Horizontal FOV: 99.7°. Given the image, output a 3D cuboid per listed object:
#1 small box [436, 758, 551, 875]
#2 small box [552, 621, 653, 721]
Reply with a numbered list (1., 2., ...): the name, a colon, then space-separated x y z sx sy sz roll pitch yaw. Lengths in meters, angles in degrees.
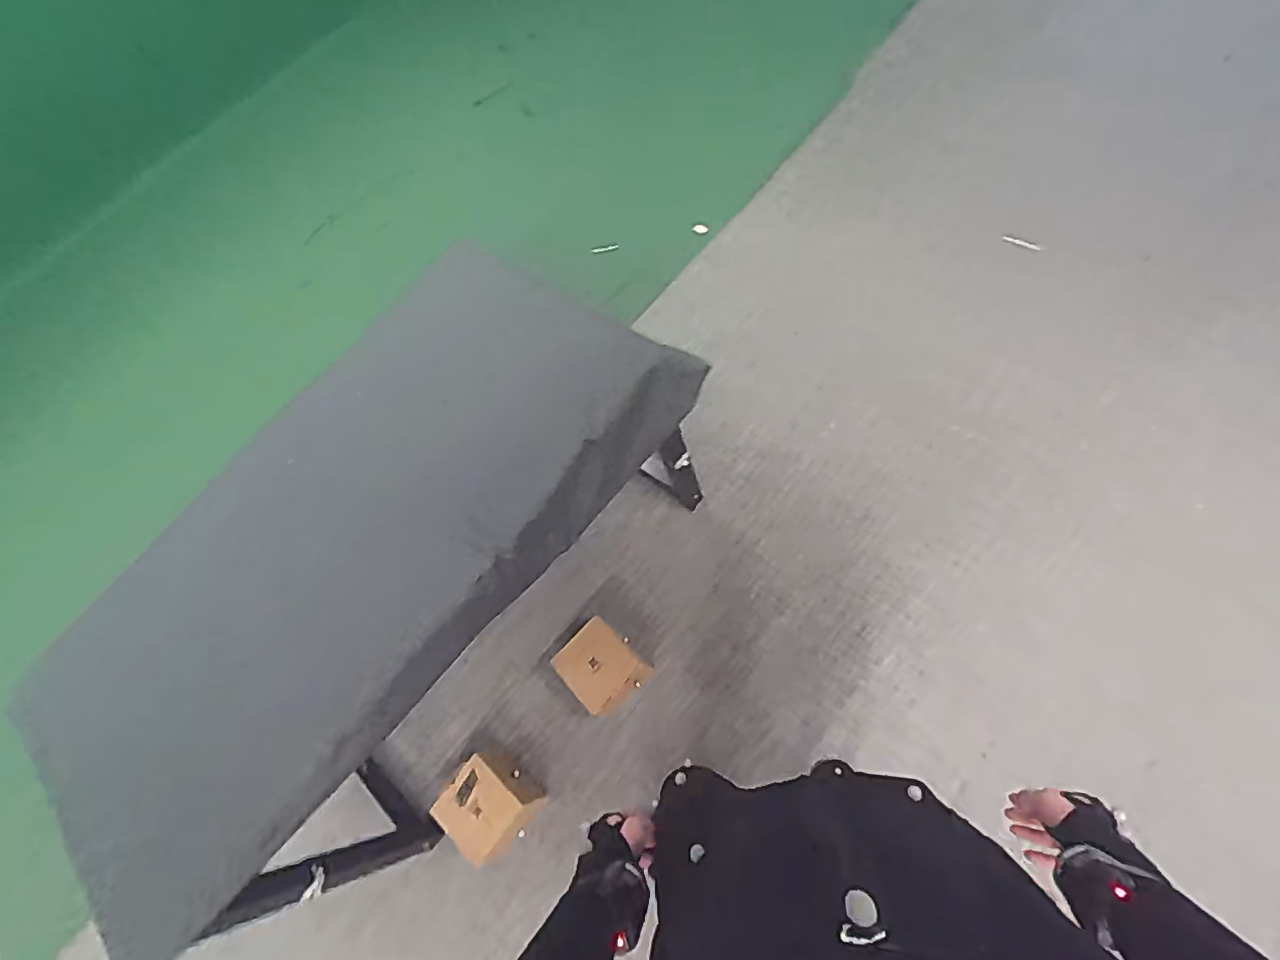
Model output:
1. small box: -0.350 0.805 1.317 0.179 0.176 0.168 33 79 23
2. small box: -0.088 0.492 1.390 0.179 0.176 0.168 39 80 26
